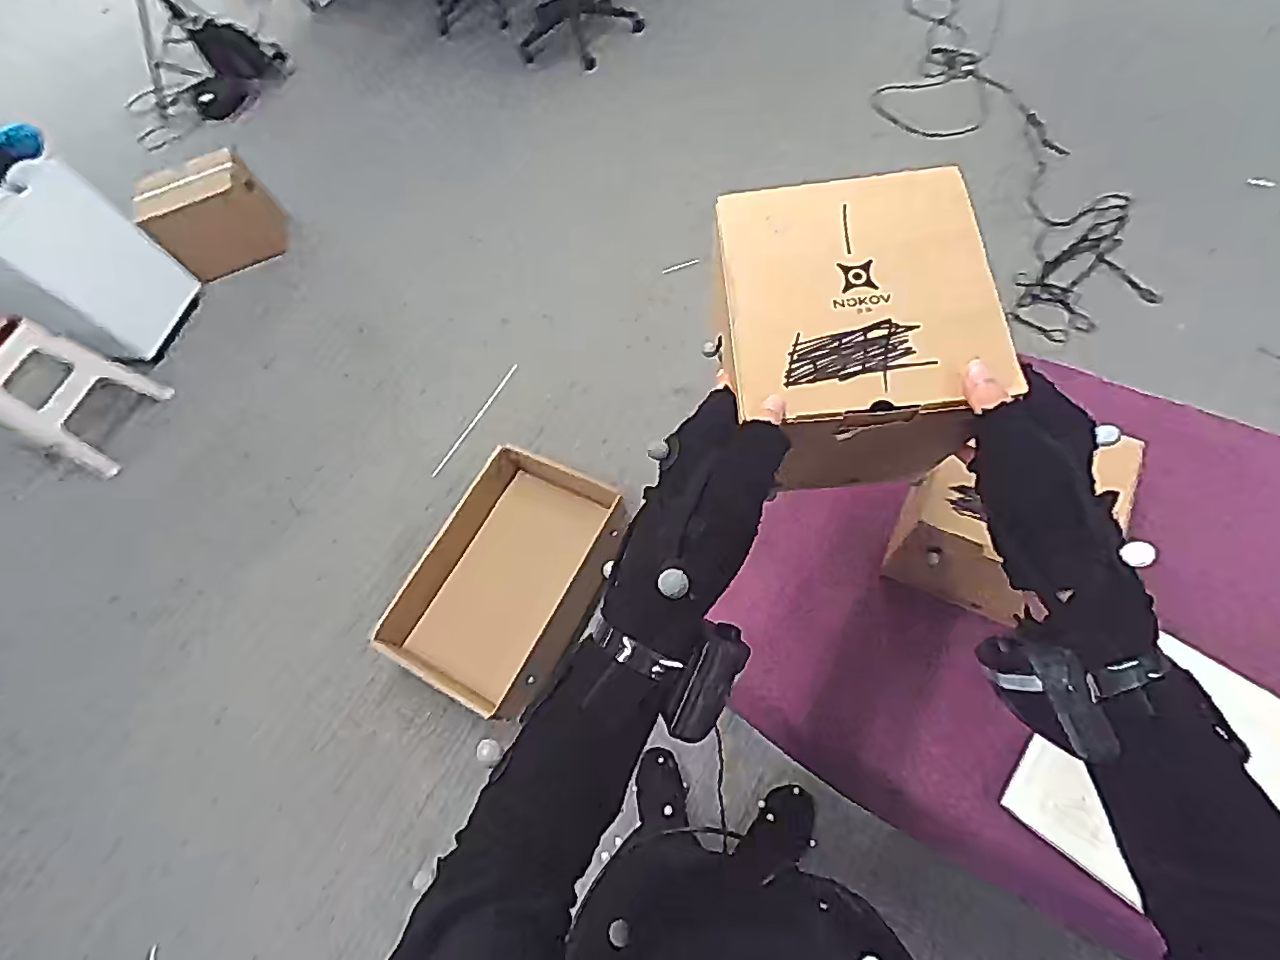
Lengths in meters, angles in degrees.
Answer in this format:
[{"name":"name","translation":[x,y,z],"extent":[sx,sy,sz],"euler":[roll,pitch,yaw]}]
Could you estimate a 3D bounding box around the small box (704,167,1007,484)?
[{"name":"small box","translation":[0.140,-0.101,0.425],"extent":[0.168,0.176,0.179],"euler":[-5,72,4]}]
